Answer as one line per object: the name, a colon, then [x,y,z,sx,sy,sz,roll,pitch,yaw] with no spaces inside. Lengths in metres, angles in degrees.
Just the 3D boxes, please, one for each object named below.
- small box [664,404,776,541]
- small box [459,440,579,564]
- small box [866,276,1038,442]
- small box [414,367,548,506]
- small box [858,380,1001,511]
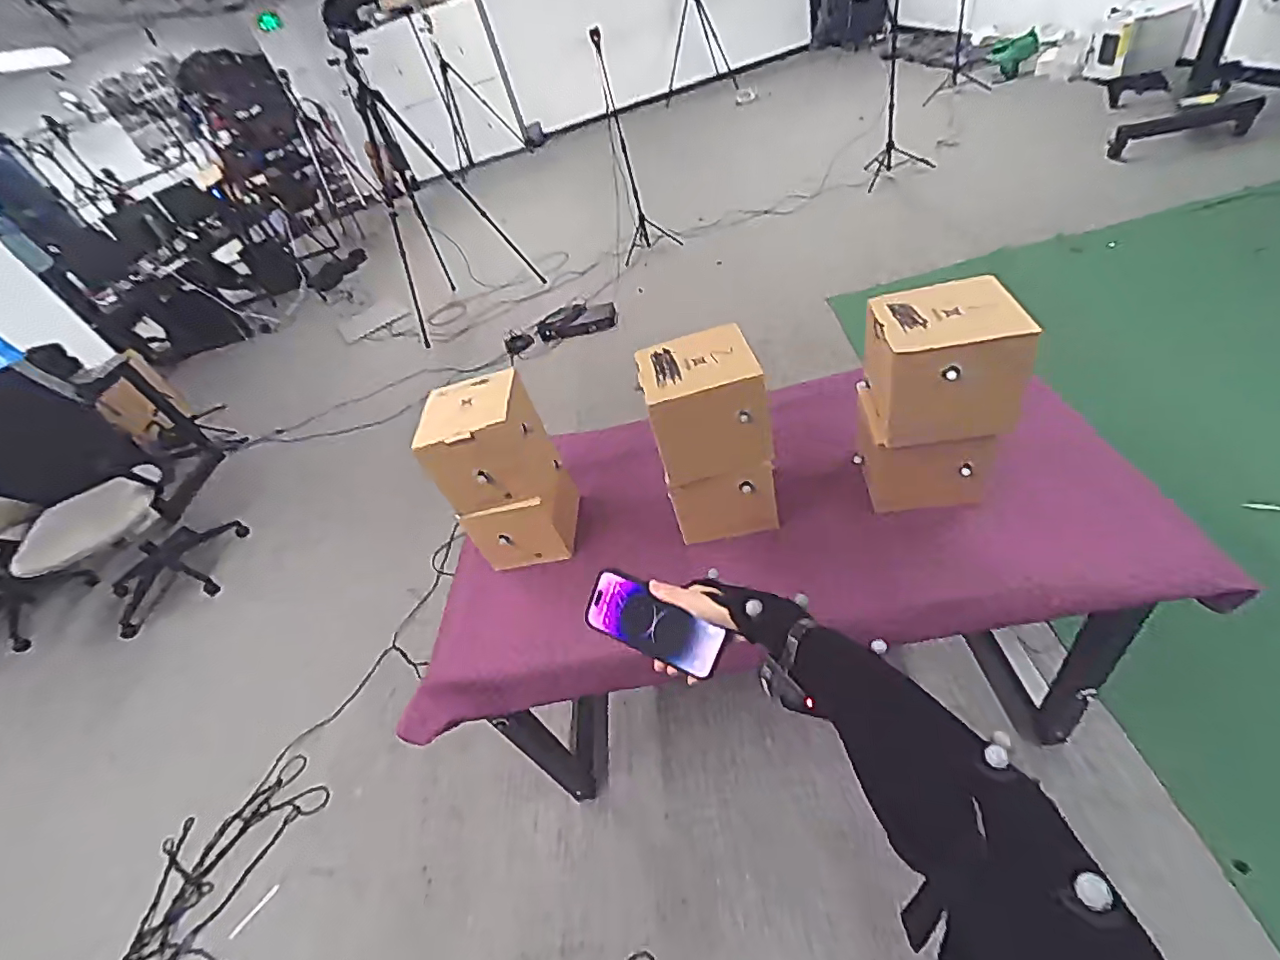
small box: [0.148,-0.011,0.990,0.179,0.176,0.168,-11,42,10]
small box: [-0.229,0.051,1.075,0.168,0.176,0.179,-11,42,11]
small box: [0.442,-0.172,0.801,0.179,0.176,0.168,-7,43,14]
small box: [-0.272,-0.070,0.972,0.168,0.176,0.179,-14,42,6]
small box: [0.476,-0.066,0.921,0.179,0.176,0.168,-7,43,15]
